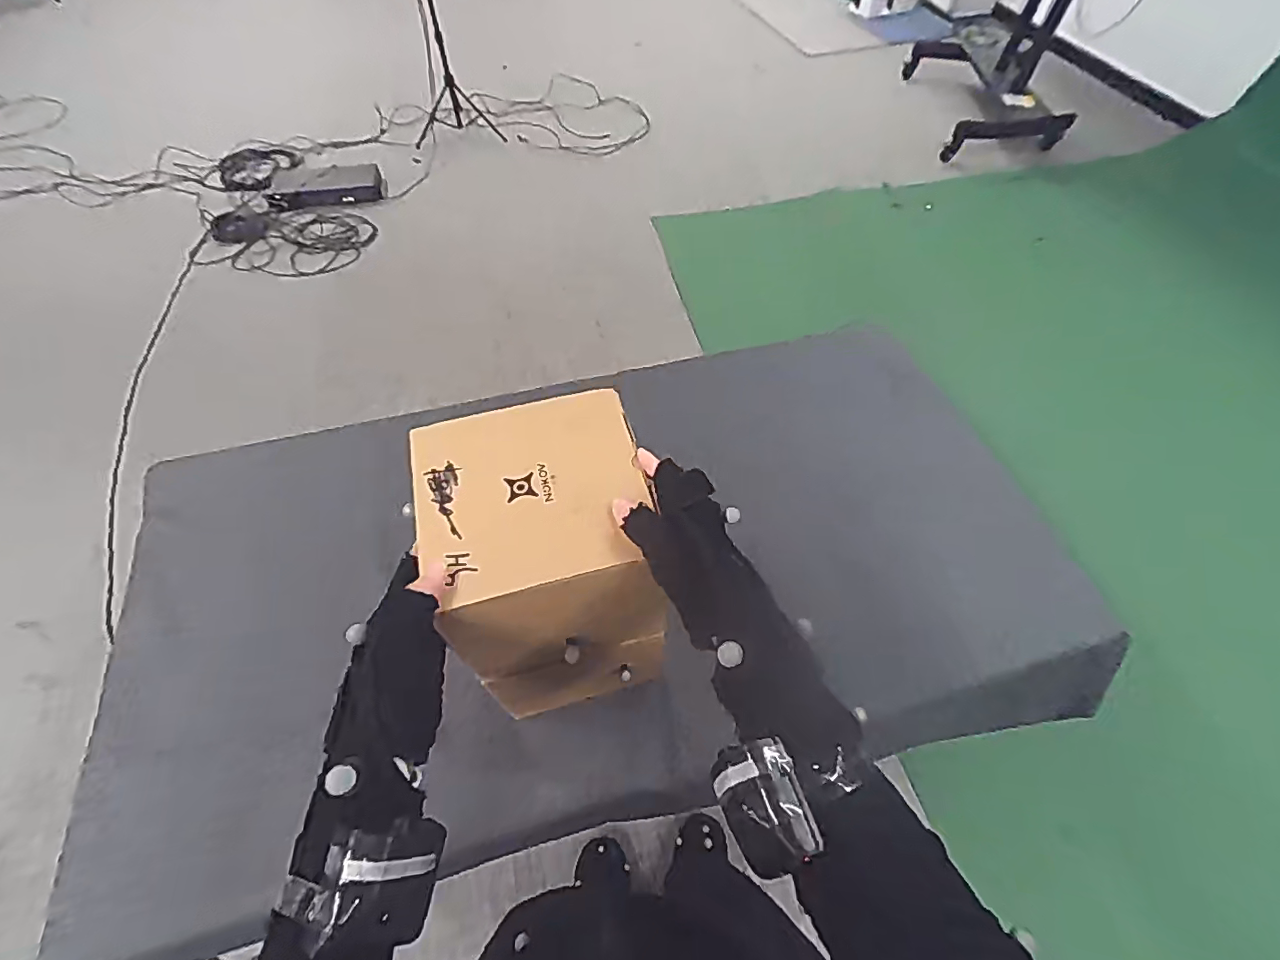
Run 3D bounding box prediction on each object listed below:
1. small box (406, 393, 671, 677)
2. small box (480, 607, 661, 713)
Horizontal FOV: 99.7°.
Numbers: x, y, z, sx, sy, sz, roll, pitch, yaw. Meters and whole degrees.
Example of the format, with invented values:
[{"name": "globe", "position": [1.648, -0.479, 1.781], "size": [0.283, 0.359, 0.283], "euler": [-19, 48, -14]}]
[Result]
[{"name": "small box", "position": [-0.085, 0.053, 0.480], "size": [0.179, 0.176, 0.168], "euler": [-15, 58, -11]}, {"name": "small box", "position": [-0.085, 0.144, 0.614], "size": [0.179, 0.176, 0.168], "euler": [-15, 56, -9]}]
